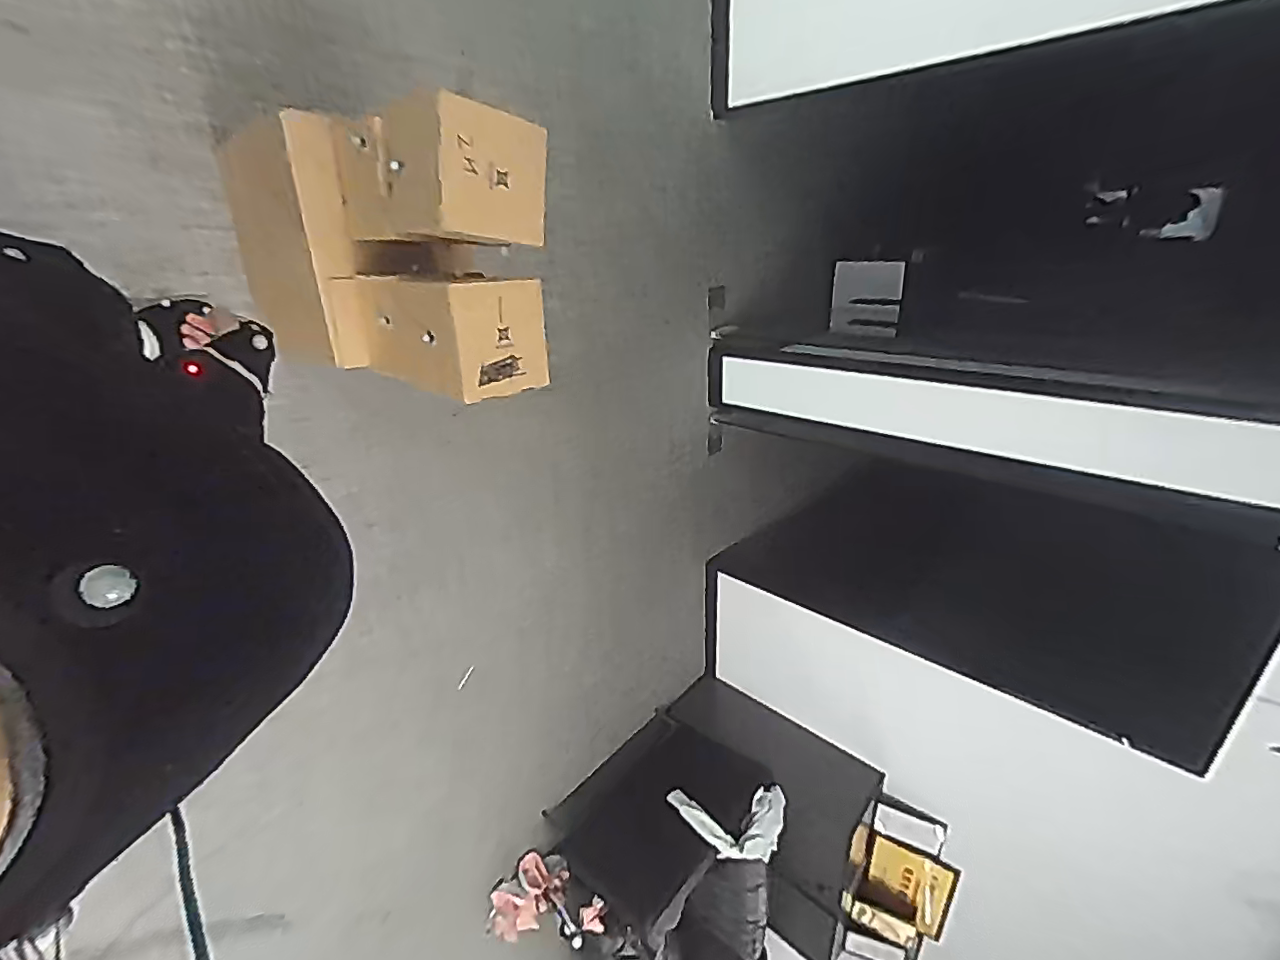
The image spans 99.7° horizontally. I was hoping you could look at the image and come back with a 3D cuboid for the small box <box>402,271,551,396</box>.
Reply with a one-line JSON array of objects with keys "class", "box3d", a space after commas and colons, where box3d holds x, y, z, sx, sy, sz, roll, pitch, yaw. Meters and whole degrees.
[{"class": "small box", "box3d": [-0.268, -0.250, 0.896, 0.168, 0.176, 0.179, -23, 121, -42]}]
